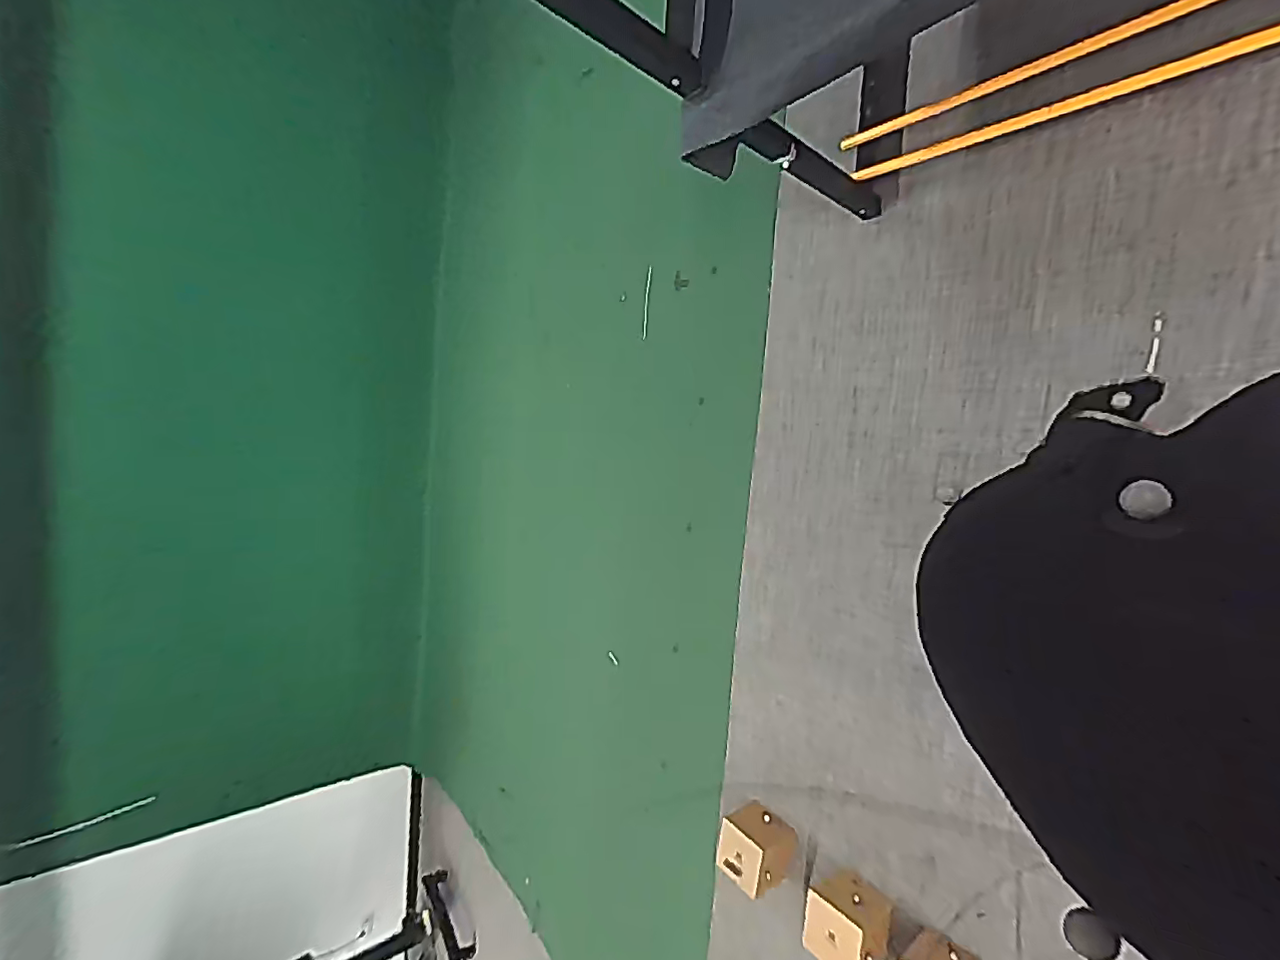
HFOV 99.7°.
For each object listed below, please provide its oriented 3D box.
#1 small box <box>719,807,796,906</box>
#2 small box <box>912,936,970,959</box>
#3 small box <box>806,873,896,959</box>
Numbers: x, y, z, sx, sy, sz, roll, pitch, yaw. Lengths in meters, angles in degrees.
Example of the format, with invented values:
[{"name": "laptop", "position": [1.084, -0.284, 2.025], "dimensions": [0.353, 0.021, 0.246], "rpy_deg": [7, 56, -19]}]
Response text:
[{"name": "small box", "position": [0.381, 1.207, 1.747], "dimensions": [0.168, 0.176, 0.179], "rpy_deg": [15, 99, 49]}, {"name": "small box", "position": [0.746, 1.272, 1.299], "dimensions": [0.168, 0.176, 0.179], "rpy_deg": [10, 96, 49]}, {"name": "small box", "position": [0.587, 1.248, 1.498], "dimensions": [0.168, 0.176, 0.179], "rpy_deg": [9, 96, 50]}]
